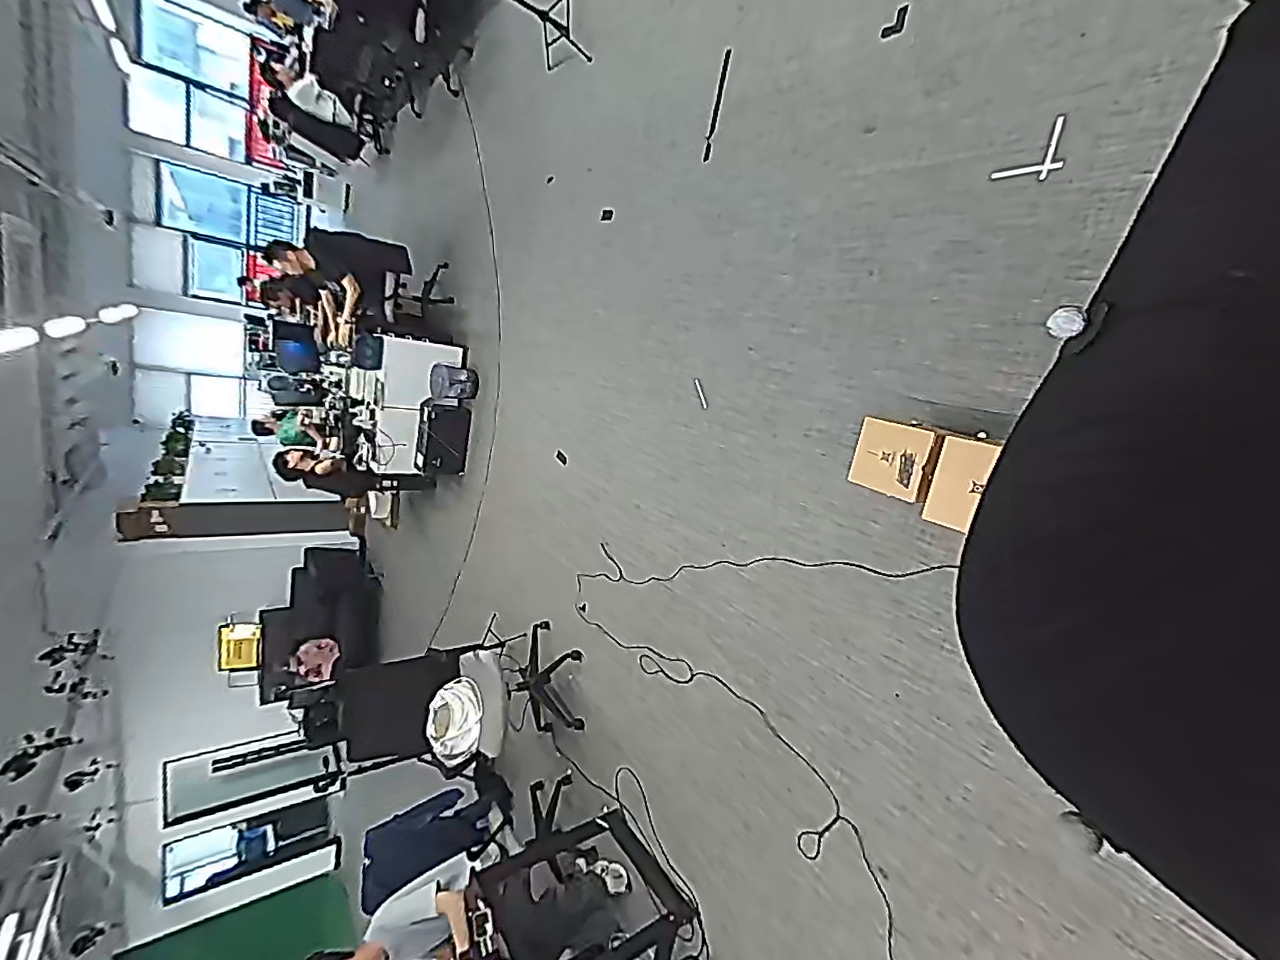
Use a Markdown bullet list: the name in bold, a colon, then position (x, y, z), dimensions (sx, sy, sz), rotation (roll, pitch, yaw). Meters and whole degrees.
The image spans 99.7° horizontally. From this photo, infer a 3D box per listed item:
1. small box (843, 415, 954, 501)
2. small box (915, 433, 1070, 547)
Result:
- **small box**: position (0.633, -0.055, 1.308), dimensions (0.179, 0.176, 0.168), rotation (28, 111, 49)
- **small box**: position (0.658, 0.015, 1.012), dimensions (0.179, 0.176, 0.168), rotation (25, 109, 47)
